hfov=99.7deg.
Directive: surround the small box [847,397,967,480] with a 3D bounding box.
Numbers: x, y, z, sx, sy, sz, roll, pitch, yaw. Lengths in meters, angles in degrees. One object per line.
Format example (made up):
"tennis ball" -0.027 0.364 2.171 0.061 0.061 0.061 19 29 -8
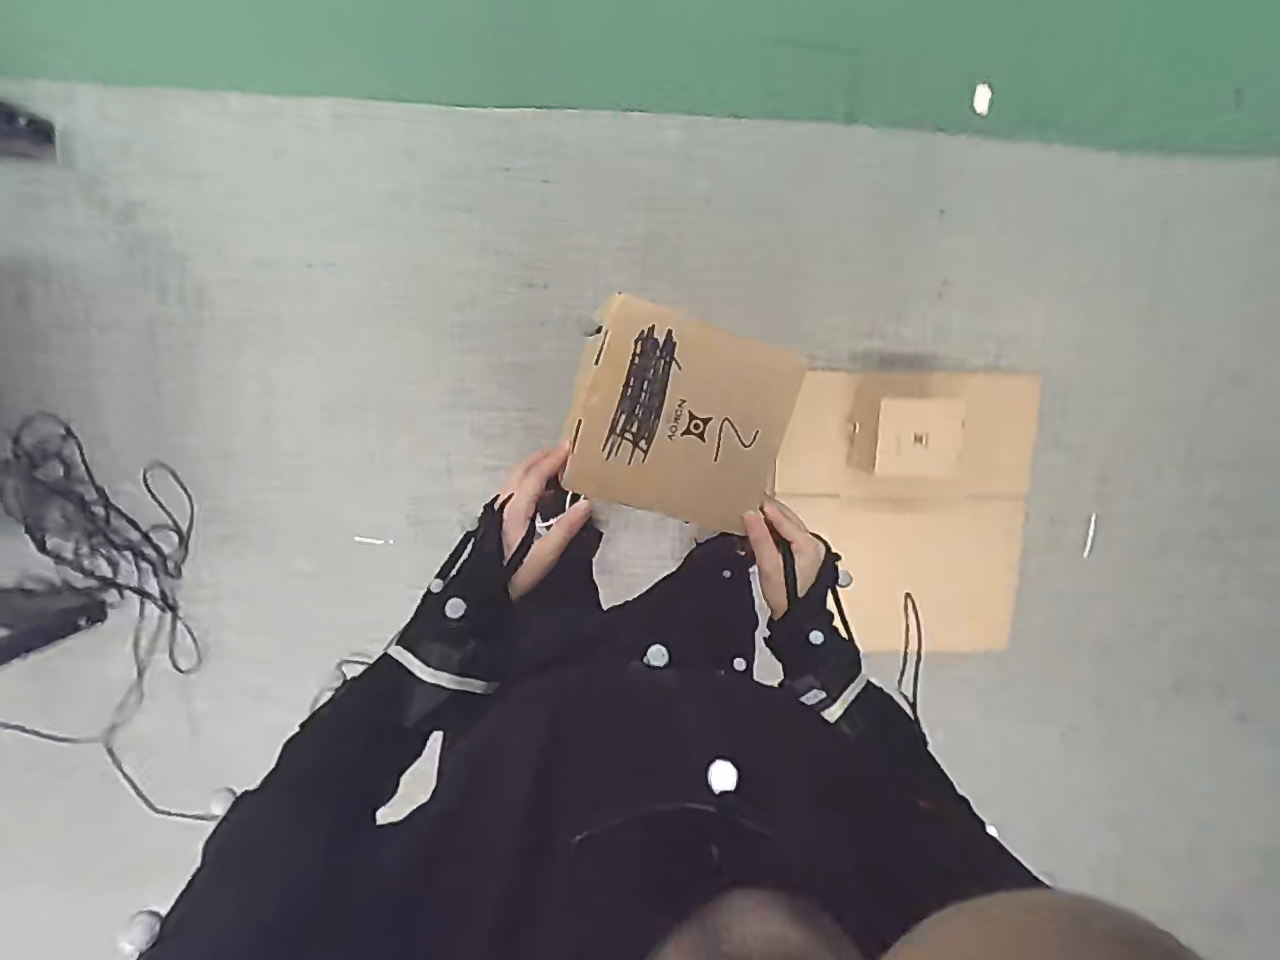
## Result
"small box" 0.579 -0.096 1.191 0.179 0.176 0.168 2 98 1
